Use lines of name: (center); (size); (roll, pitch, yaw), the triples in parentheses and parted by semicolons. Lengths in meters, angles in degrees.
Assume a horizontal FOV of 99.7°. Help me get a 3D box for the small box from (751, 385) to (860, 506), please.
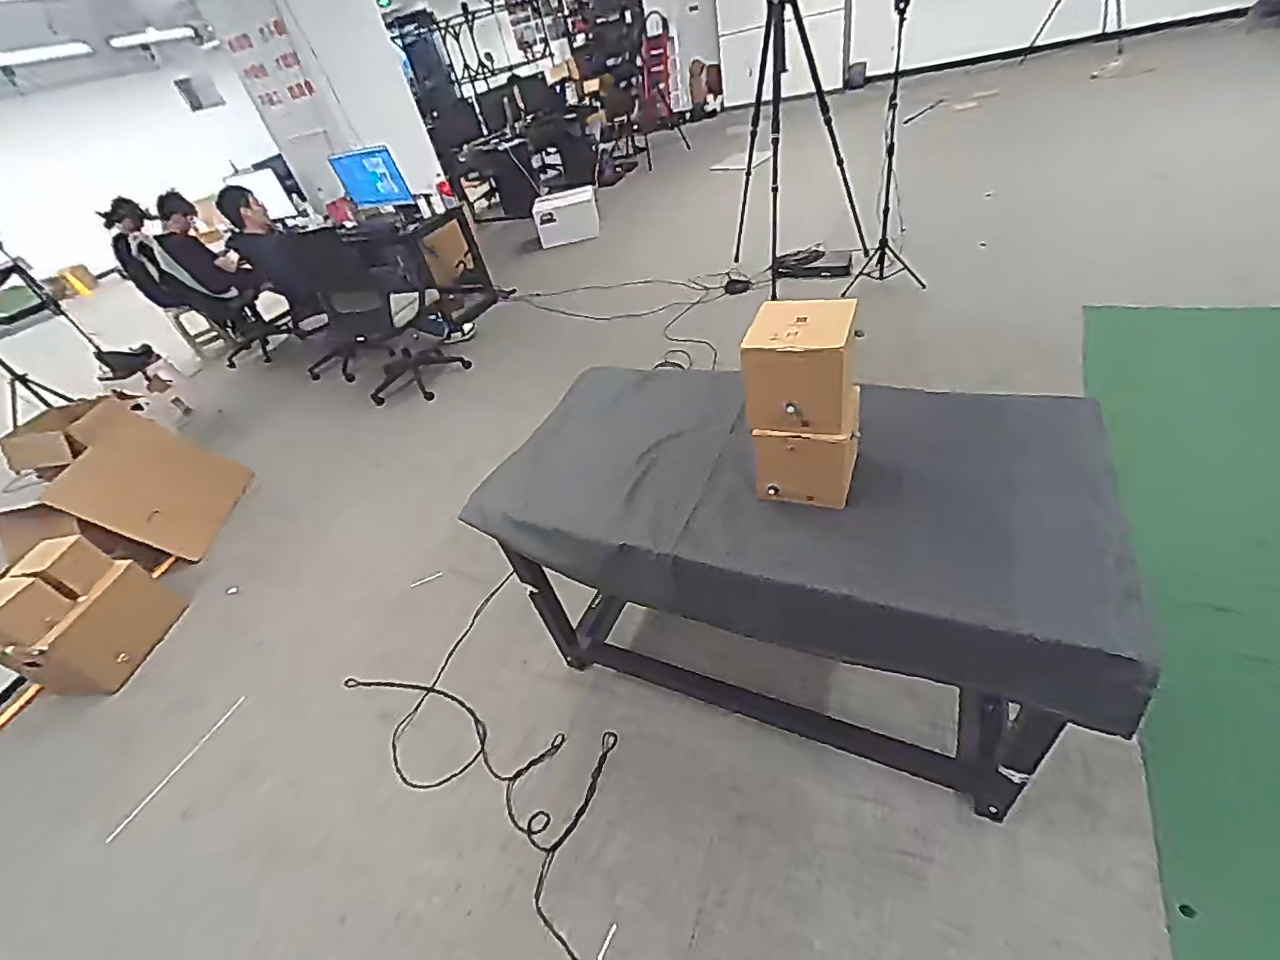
small box: (0.326, -0.072, 1.051); (0.168, 0.176, 0.179); (8, 45, 26)

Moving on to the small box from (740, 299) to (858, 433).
small box: (0.286, -0.204, 0.961); (0.168, 0.176, 0.179); (7, 46, 26)
